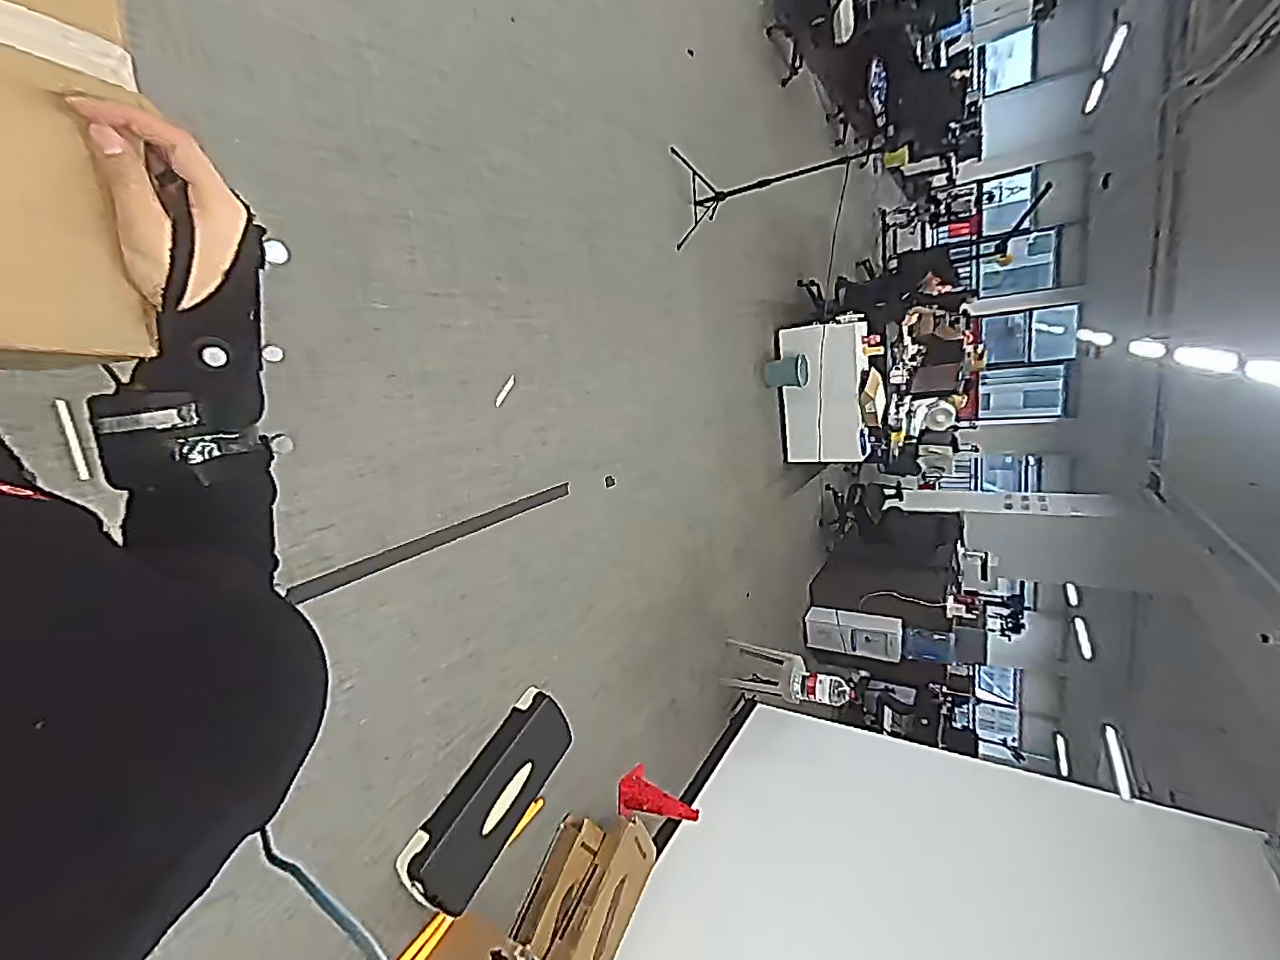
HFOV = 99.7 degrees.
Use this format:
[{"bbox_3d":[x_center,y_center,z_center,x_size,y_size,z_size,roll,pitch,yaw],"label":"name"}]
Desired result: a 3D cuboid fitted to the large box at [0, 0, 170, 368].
[{"bbox_3d":[-0.532,-0.217,0.244,0.408,0.320,0.320,-11,105,-54],"label":"large box"}]
